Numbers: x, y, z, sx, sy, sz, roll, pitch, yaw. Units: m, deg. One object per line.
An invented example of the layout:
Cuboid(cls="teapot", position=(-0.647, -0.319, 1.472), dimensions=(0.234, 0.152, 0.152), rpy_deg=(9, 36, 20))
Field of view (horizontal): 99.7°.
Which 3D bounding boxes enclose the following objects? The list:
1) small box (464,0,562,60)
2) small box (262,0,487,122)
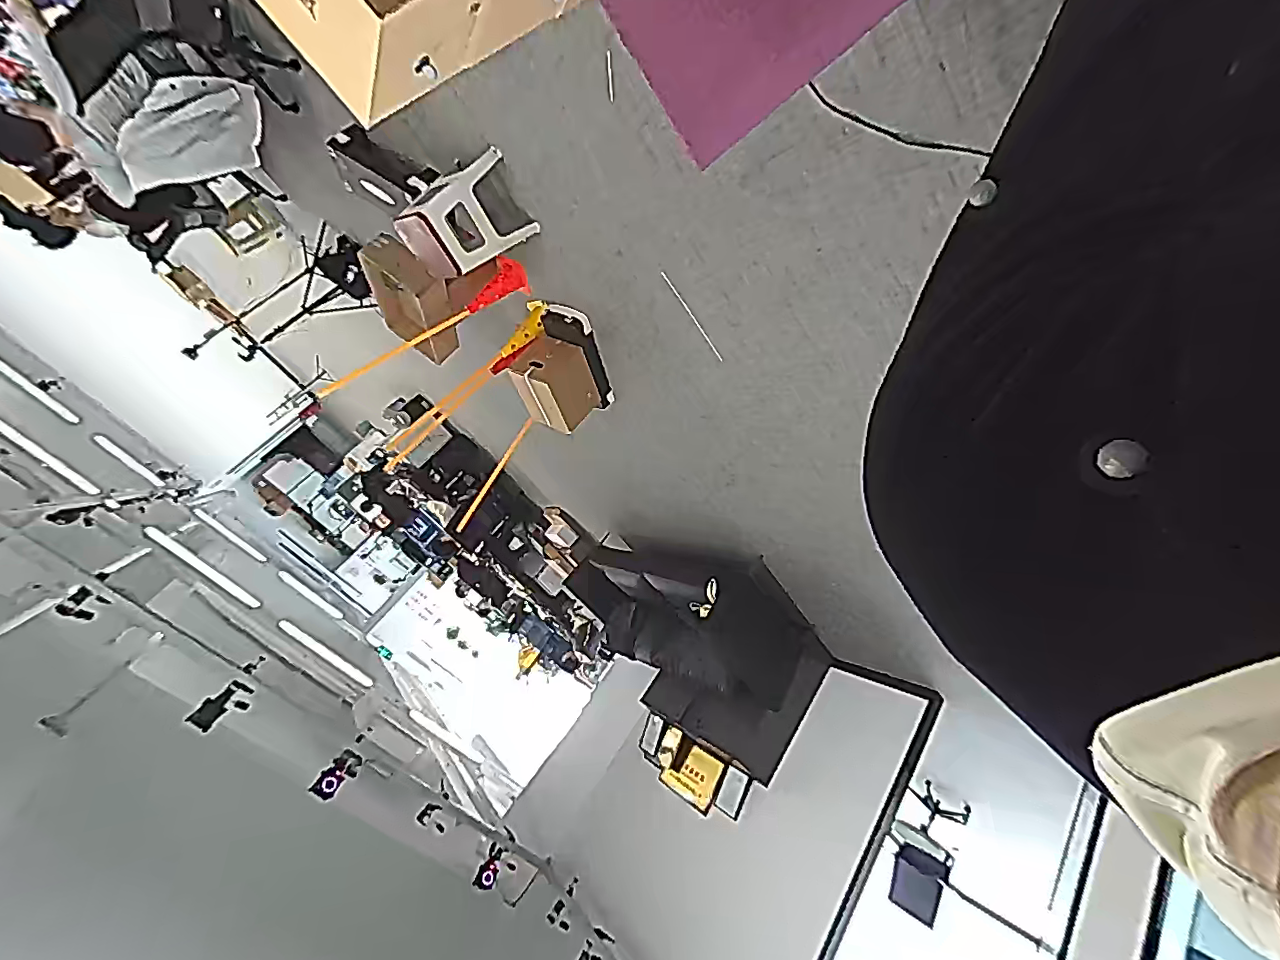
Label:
Cuboid(cls="small box", position=(-0.173, -0.637, 0.601), dimensions=(0.179, 0.176, 0.168), rpy_deg=(48, 157, -21))
Cuboid(cls="small box", position=(-0.268, -0.520, 0.540), dimensions=(0.179, 0.176, 0.168), rpy_deg=(49, 157, -20))
